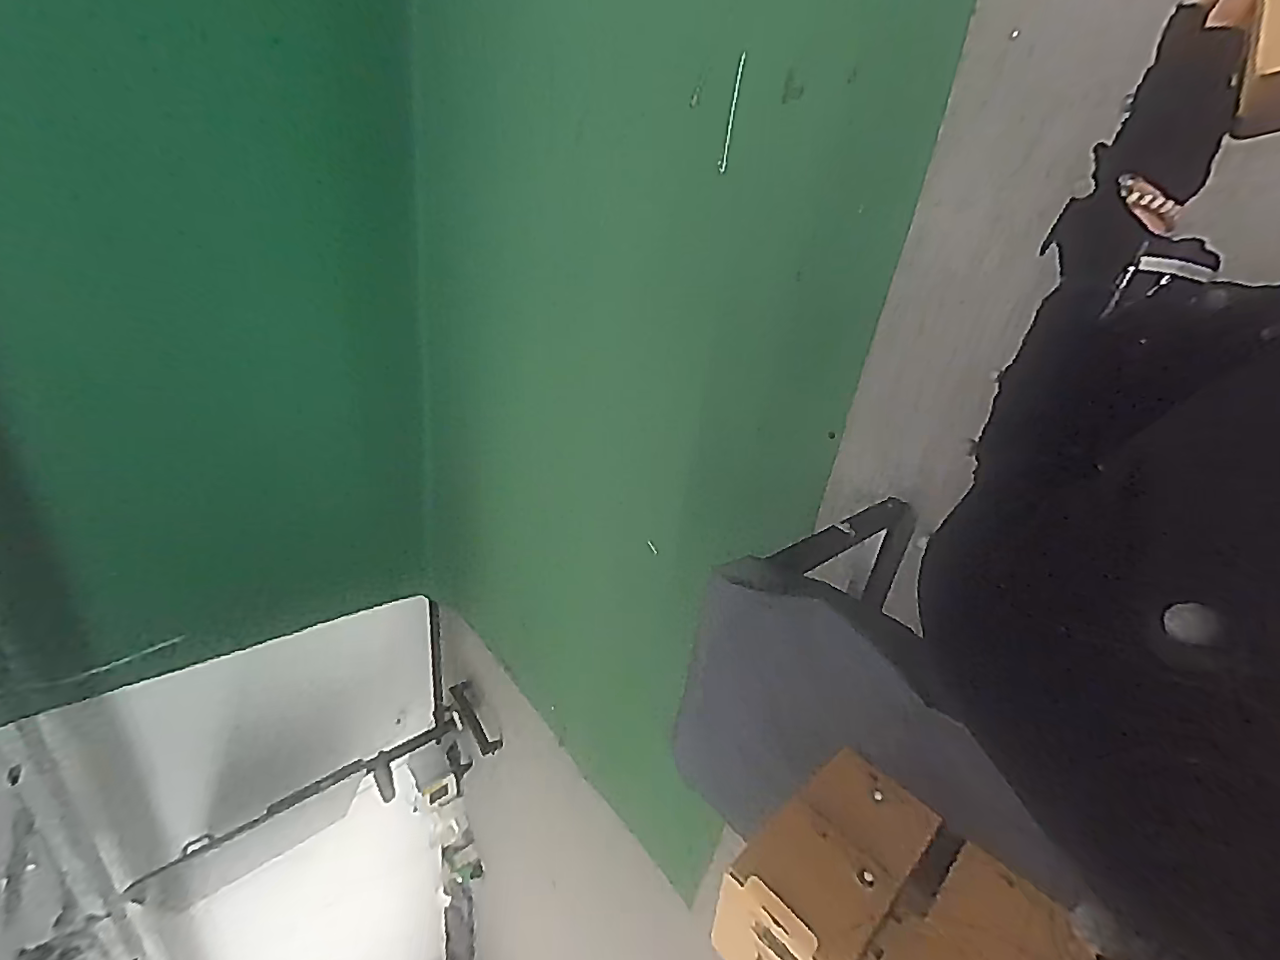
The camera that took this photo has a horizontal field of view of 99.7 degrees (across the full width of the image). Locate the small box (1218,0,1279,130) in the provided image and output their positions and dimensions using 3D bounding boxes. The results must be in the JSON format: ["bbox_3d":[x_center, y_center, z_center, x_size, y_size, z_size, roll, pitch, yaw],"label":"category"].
[{"bbox_3d":[0.452,-0.317,0.285,0.179,0.176,0.168,9,108,42],"label":"small box"}]
